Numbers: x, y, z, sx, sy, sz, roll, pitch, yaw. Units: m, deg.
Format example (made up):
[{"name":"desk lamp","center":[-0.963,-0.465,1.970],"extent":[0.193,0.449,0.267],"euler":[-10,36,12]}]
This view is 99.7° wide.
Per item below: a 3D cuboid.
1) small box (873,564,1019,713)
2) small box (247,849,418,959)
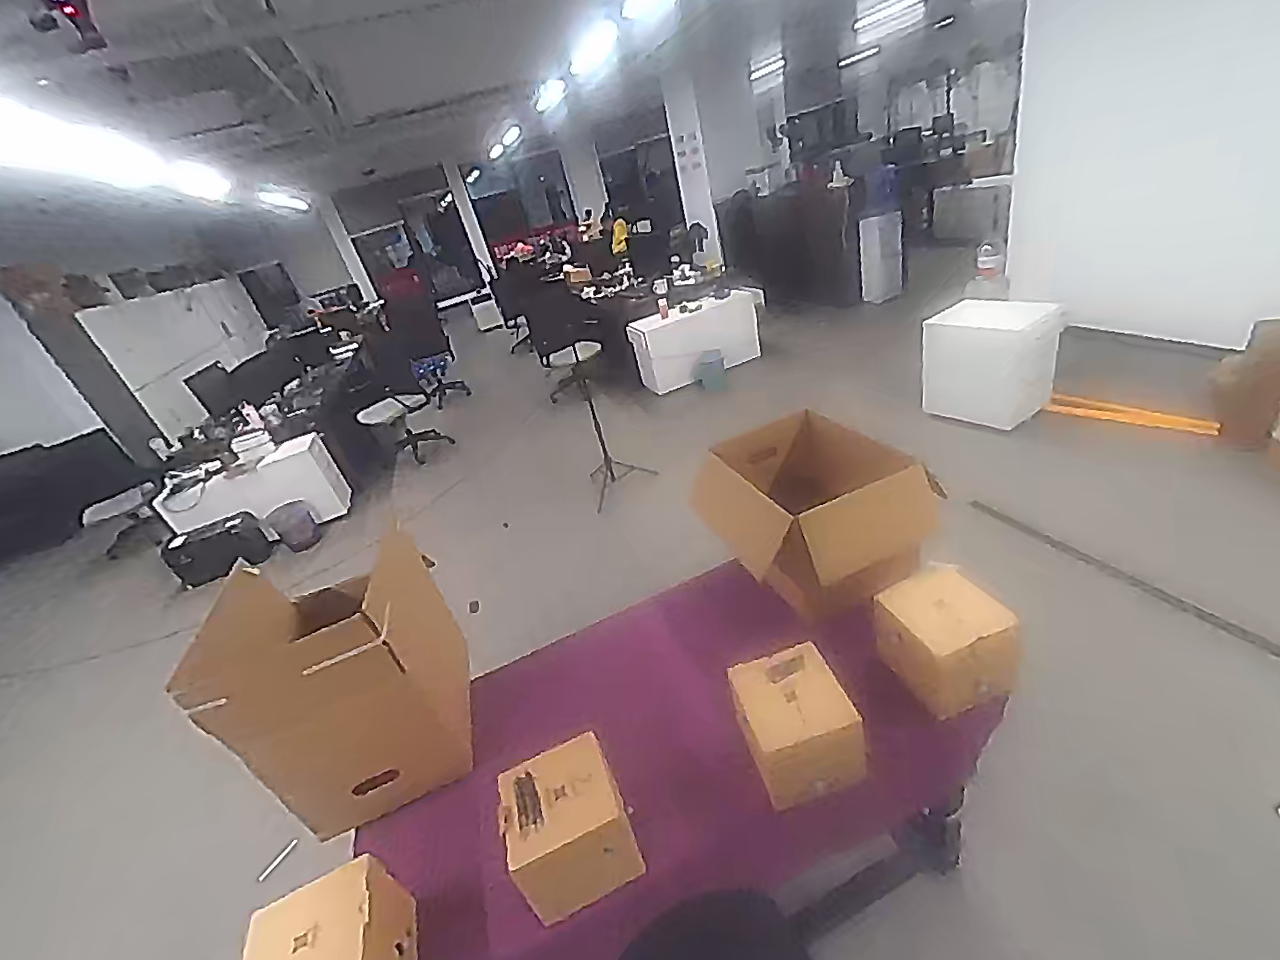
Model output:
[{"name":"small box","center":[0.564,0.294,1.014],"extent":[0.168,0.176,0.179],"euler":[-21,29,-6]},{"name":"small box","center":[-0.452,0.714,0.806],"extent":[0.179,0.176,0.168],"euler":[-23,29,-14]}]
